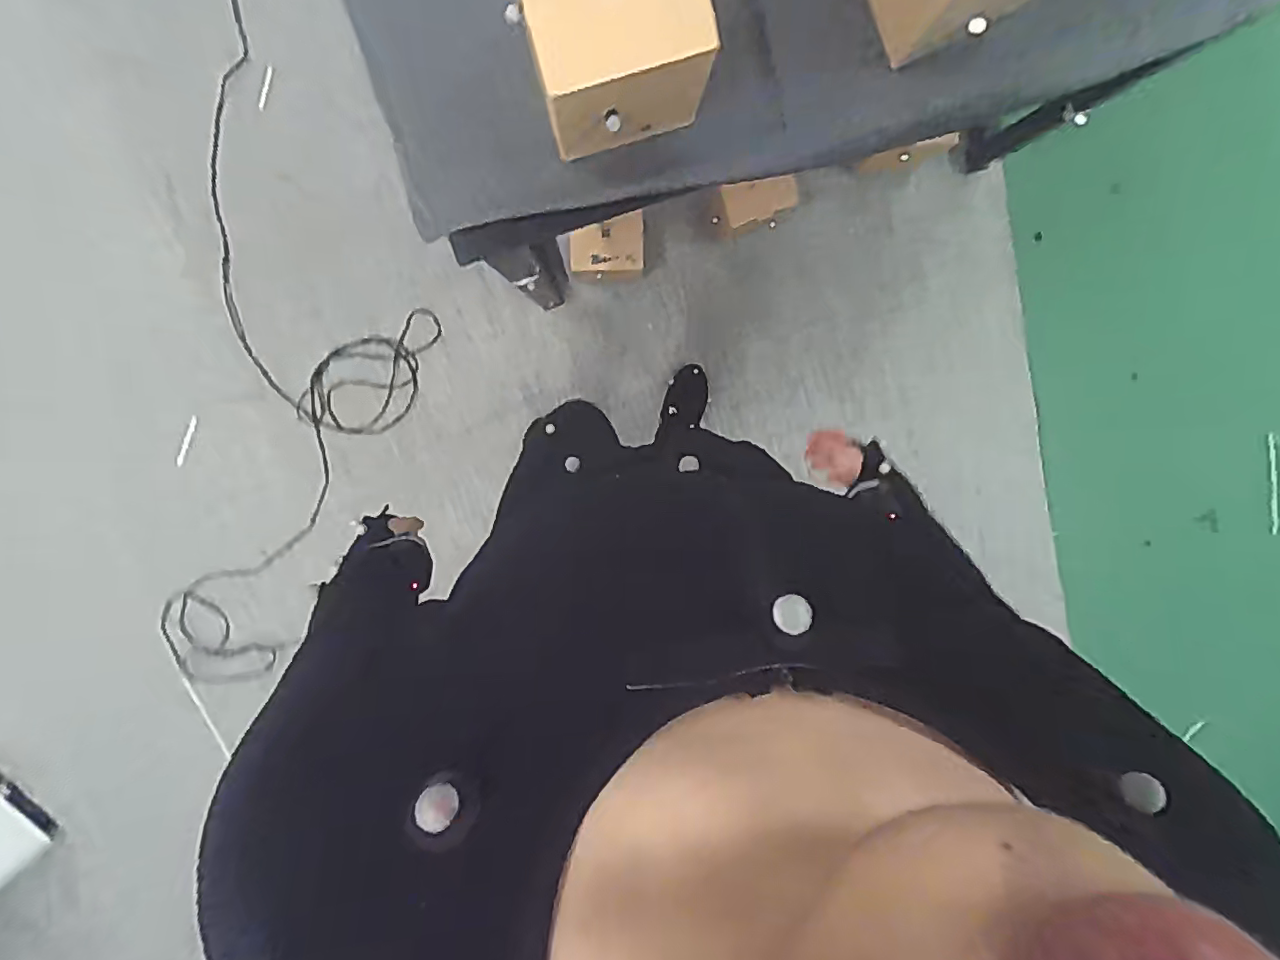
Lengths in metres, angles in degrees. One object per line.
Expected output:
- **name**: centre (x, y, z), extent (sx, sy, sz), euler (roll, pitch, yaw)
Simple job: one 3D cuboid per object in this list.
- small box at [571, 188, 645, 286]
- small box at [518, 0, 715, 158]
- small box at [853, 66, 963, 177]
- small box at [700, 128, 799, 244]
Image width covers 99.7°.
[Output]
- **small box**: centre (-0.076, -0.567, 1.278), extent (0.168, 0.176, 0.179), euler (0, 101, -2)
- **small box**: centre (-0.031, -0.462, 0.558), extent (0.168, 0.176, 0.179), euler (-16, 102, 1)
- **small box**: centre (0.610, -0.821, 1.254), extent (0.179, 0.176, 0.168), euler (-5, 102, -3)
- **small box**: centre (0.251, -0.675, 1.269), extent (0.168, 0.176, 0.179), euler (-20, 101, 1)
